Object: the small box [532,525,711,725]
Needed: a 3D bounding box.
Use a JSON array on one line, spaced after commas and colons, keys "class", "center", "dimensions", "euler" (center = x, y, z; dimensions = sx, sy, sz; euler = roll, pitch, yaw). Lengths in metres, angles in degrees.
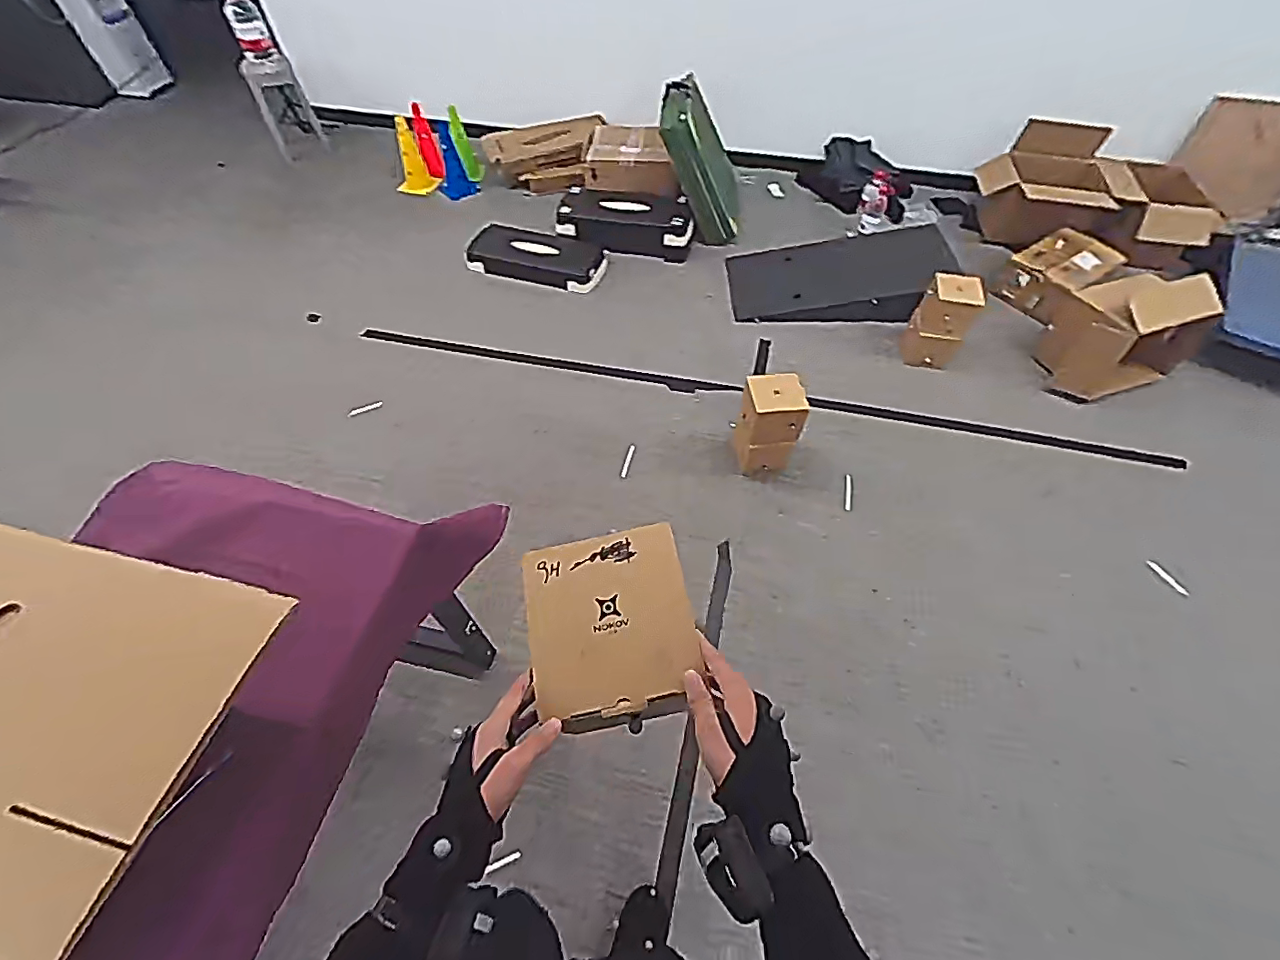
[{"class": "small box", "center": [-0.016, 0.174, 0.618], "dimensions": [0.168, 0.176, 0.179], "euler": [-11, 63, 0]}]
